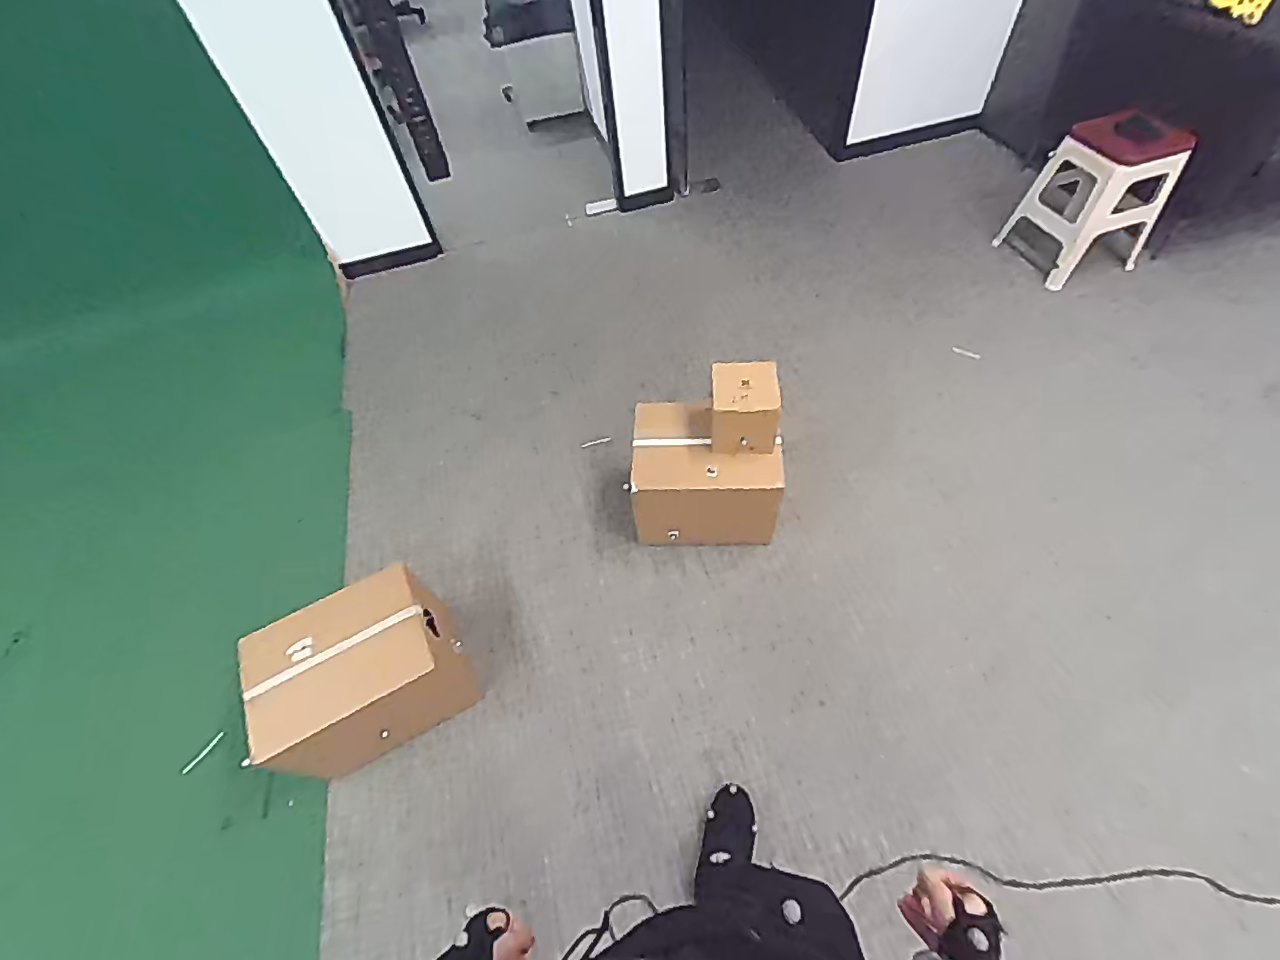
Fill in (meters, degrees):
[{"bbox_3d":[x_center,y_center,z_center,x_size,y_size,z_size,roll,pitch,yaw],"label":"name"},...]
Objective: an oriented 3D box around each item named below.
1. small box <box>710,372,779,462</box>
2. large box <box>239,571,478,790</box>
[{"bbox_3d":[0.270,-0.167,1.433,0.168,0.176,0.179,0,53,6],"label":"small box"},{"bbox_3d":[-0.683,0.501,1.351,0.408,0.320,0.320,-27,55,-12],"label":"large box"}]
